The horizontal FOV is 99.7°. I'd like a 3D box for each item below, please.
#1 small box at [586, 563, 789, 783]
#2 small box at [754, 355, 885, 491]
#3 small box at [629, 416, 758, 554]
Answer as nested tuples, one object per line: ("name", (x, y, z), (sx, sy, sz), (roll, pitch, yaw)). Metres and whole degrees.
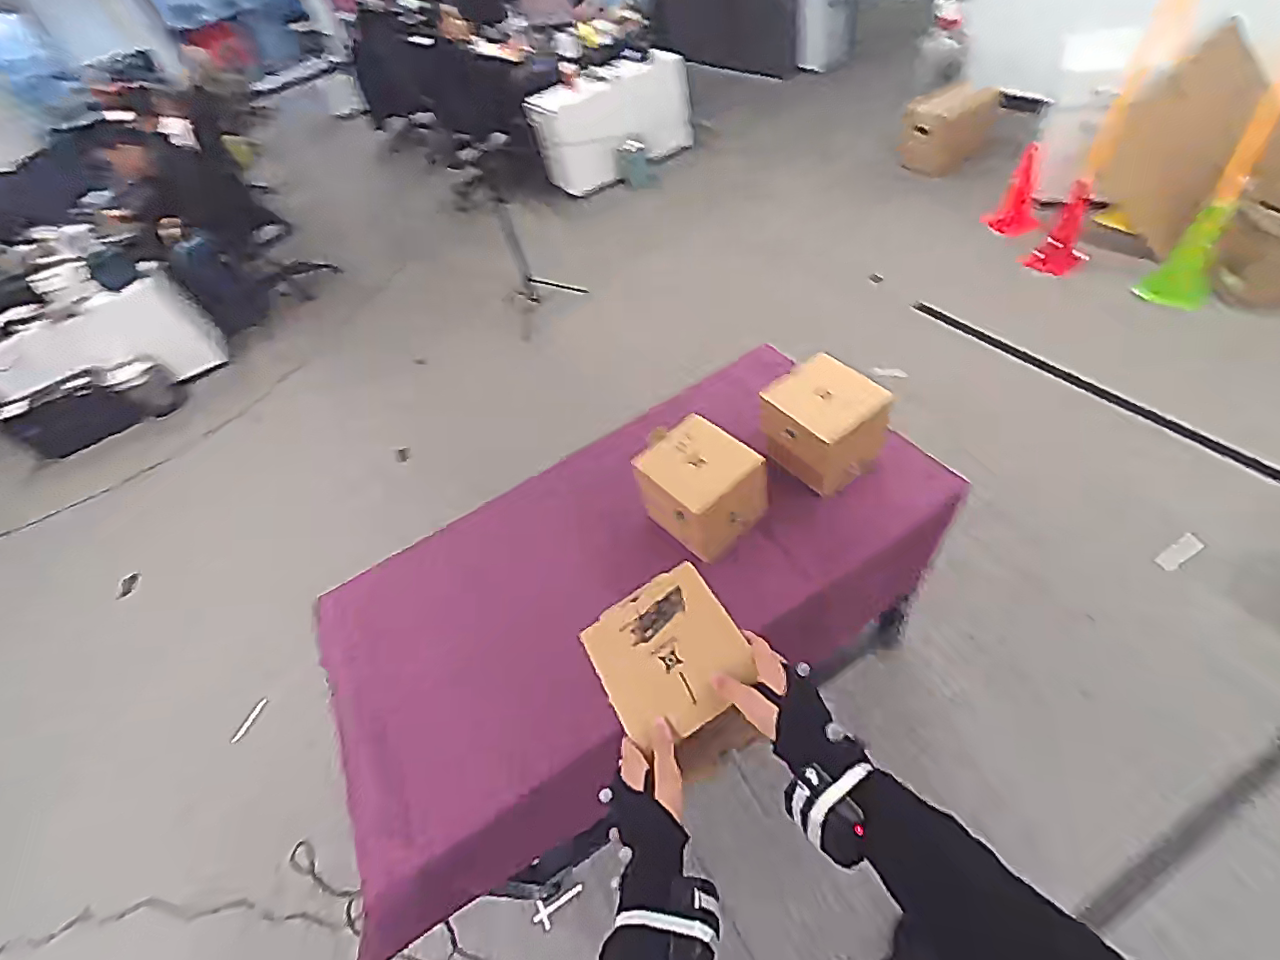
("small box", (0.063, 0.245, 0.679), (0.168, 0.176, 0.179), (-34, 48, -3))
("small box", (0.347, -0.110, 1.067), (0.168, 0.176, 0.179), (-35, 50, -12))
("small box", (0.109, 0.016, 1.030), (0.168, 0.176, 0.179), (-39, 51, -17))
